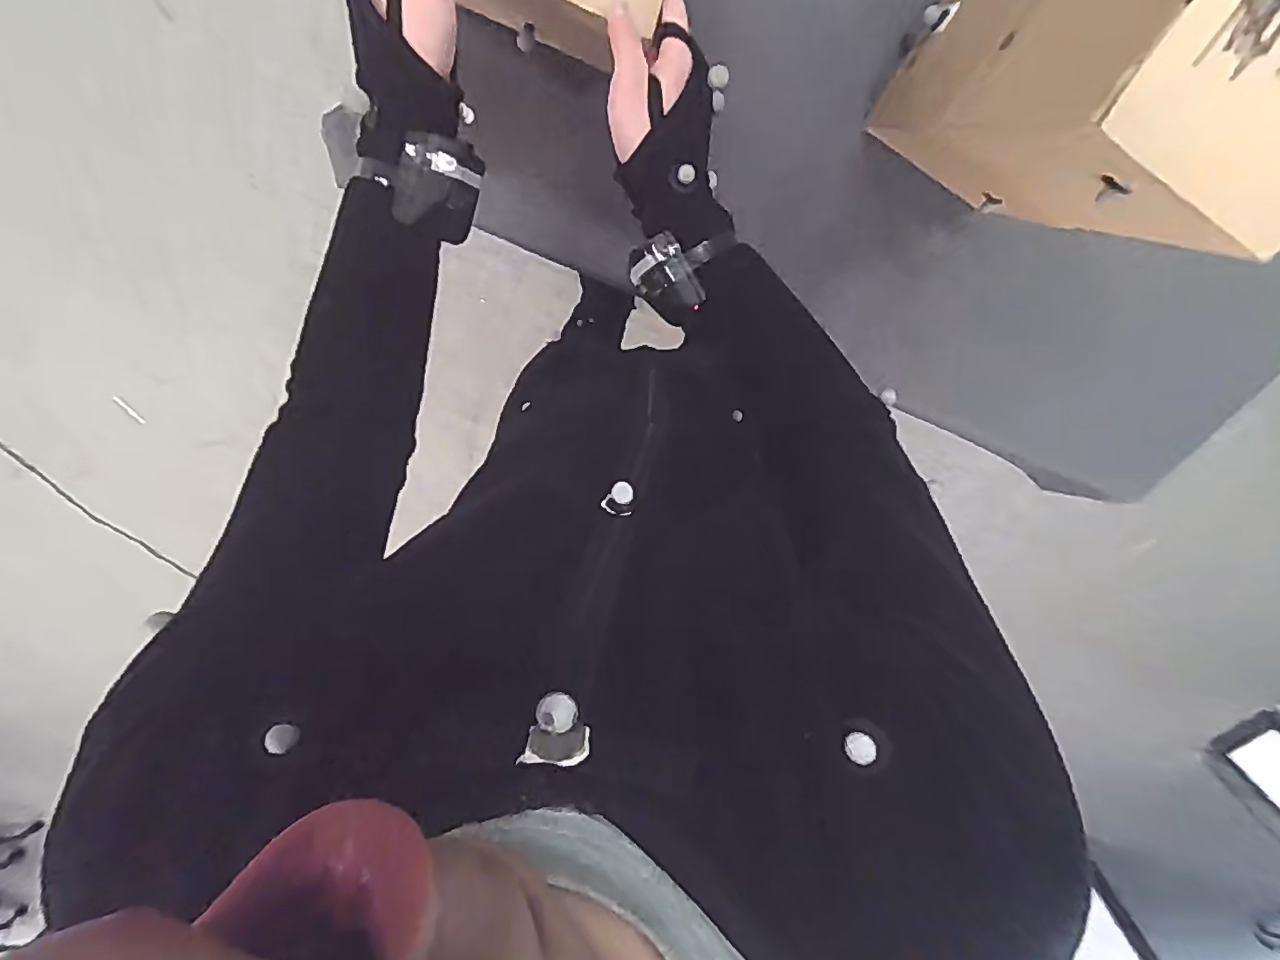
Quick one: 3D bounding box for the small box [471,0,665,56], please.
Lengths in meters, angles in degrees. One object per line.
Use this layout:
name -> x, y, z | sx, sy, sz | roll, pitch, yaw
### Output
small box -> -0.061, -0.439, 0.388 | 0.179, 0.176, 0.168 | 11, 116, -20

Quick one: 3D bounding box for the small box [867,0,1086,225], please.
small box -> 0.351, -0.365, 0.493 | 0.179, 0.176, 0.168 | 23, 118, -15

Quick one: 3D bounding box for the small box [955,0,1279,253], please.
small box -> 0.358, -0.279, 0.353 | 0.179, 0.176, 0.168 | 21, 120, -17
